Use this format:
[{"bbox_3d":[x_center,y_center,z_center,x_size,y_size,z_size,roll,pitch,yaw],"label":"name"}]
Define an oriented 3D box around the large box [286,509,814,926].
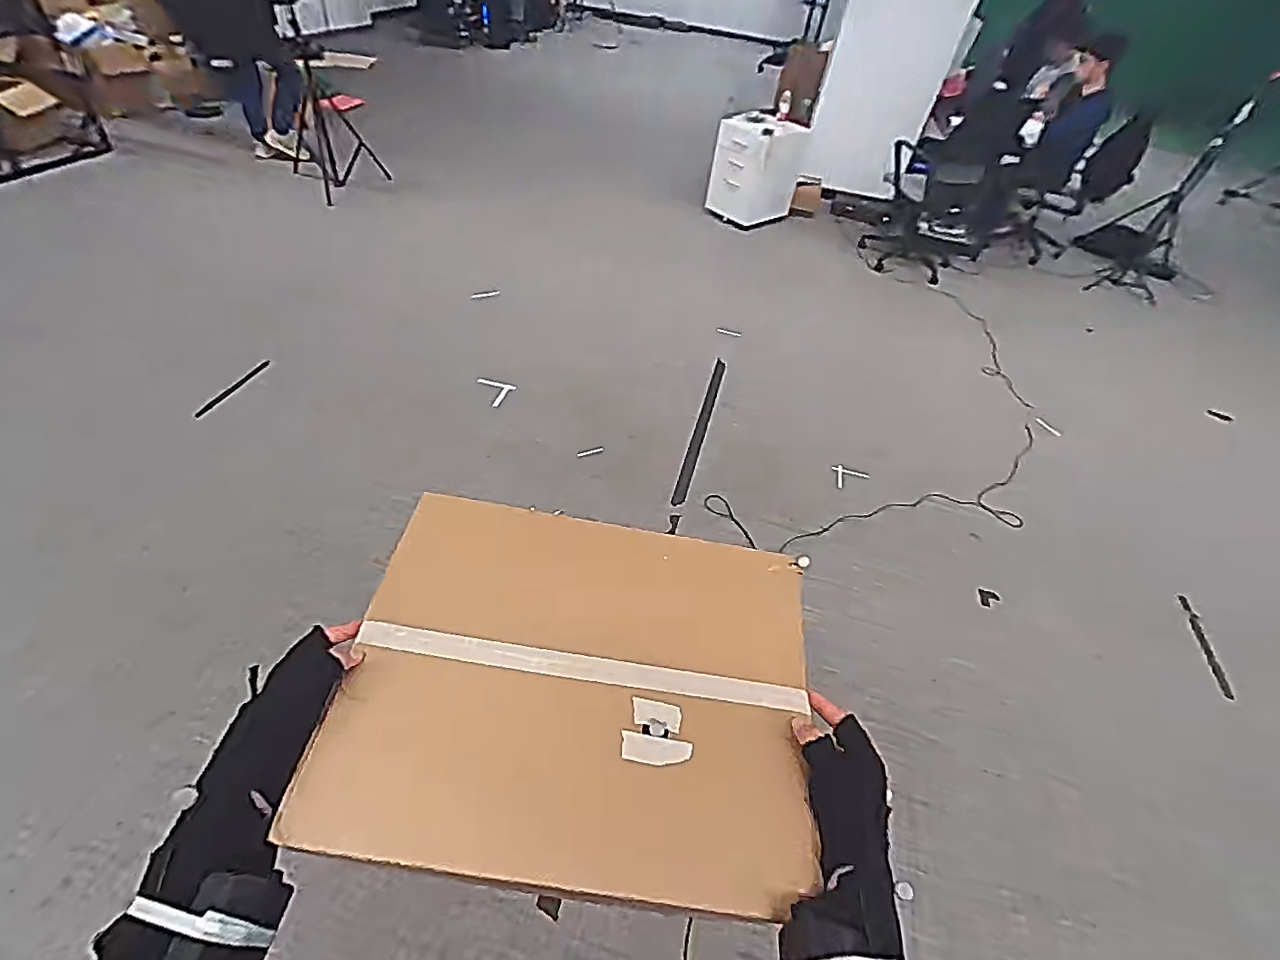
[{"bbox_3d":[-0.069,0.272,0.605,0.408,0.320,0.320,11,52,-2],"label":"large box"}]
